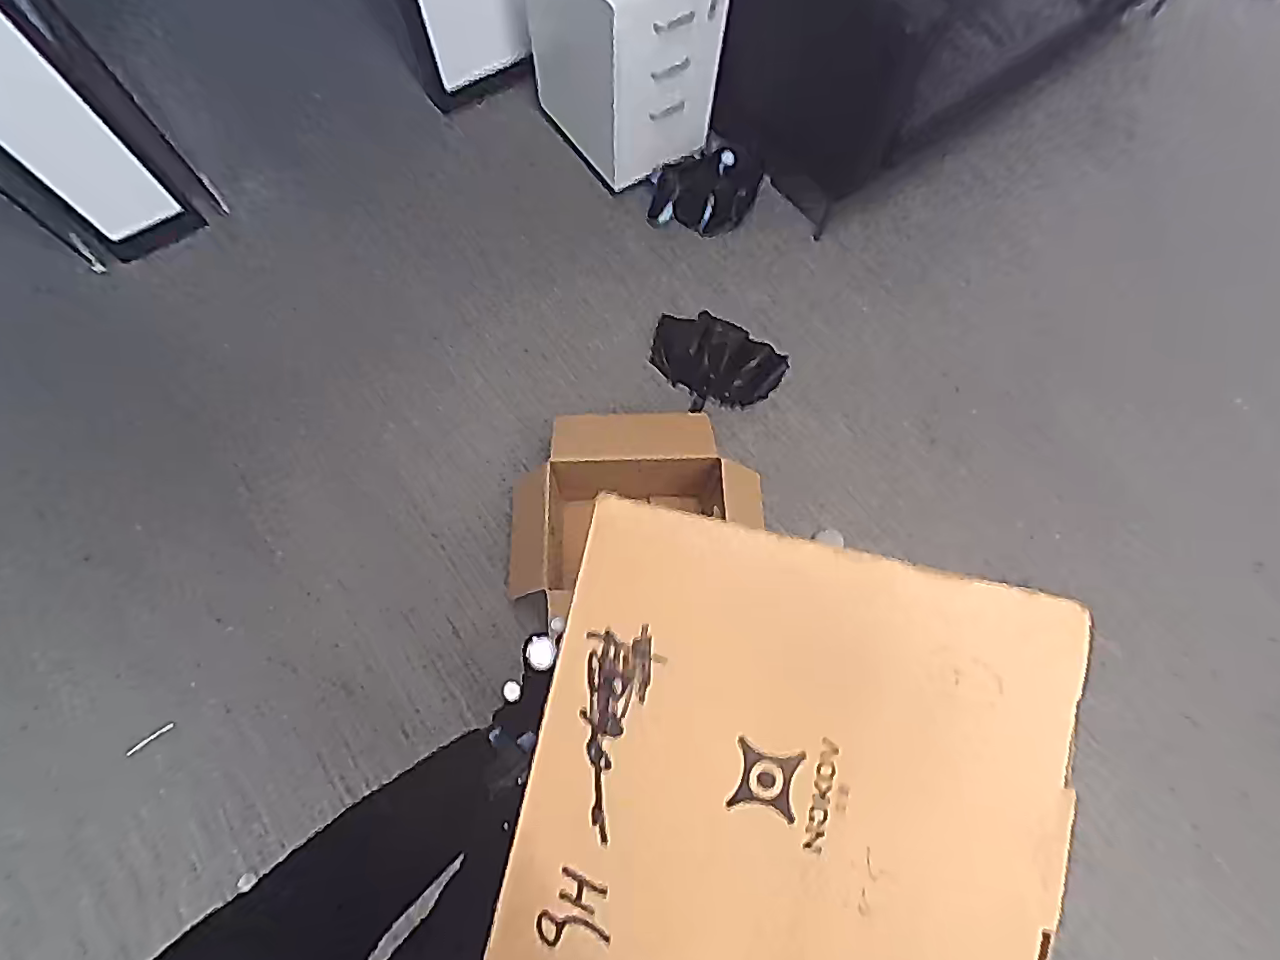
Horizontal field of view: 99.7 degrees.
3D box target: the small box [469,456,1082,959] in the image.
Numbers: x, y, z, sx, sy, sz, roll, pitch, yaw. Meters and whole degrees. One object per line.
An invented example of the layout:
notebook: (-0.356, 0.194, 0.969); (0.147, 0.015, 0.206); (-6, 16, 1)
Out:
small box: (0.050, 0.099, 0.258); (0.179, 0.176, 0.168); (14, 82, 3)
